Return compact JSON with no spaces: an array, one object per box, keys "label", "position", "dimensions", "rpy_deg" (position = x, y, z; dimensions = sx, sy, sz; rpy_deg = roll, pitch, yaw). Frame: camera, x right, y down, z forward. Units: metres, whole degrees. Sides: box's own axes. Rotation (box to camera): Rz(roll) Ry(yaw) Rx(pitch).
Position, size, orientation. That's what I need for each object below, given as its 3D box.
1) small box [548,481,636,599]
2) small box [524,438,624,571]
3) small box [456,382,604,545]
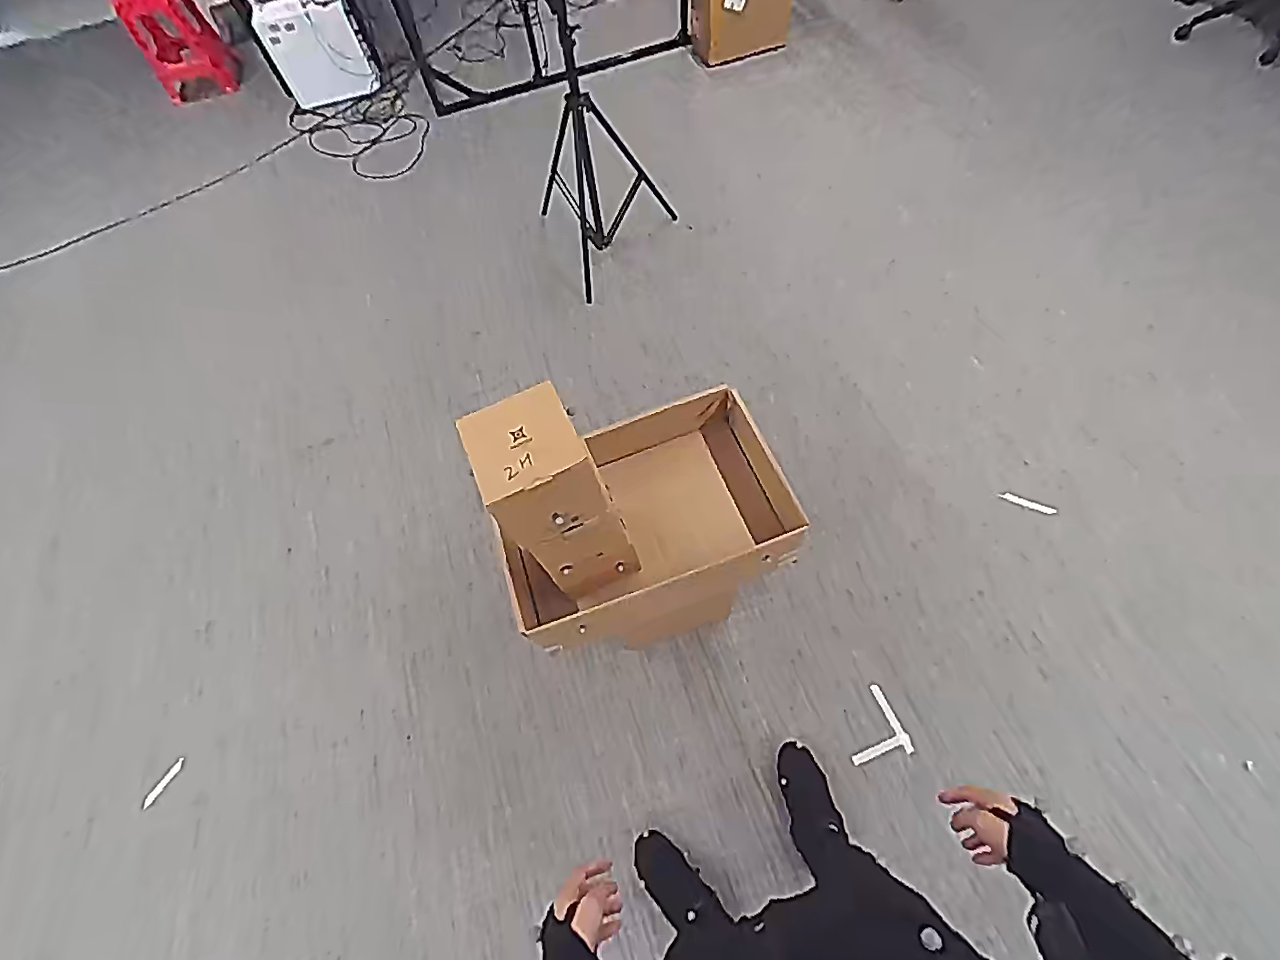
[{"label":"small box","position":[-0.117,0.135,1.174],"dimensions":[0.179,0.176,0.168],"rpy_deg":[-25,62,-5]},{"label":"small box","position":[-0.141,0.056,1.032],"dimensions":[0.168,0.176,0.179],"rpy_deg":[-23,61,-5]},{"label":"small box","position":[-0.175,-0.022,0.889],"dimensions":[0.168,0.176,0.179],"rpy_deg":[-25,61,-6]}]
